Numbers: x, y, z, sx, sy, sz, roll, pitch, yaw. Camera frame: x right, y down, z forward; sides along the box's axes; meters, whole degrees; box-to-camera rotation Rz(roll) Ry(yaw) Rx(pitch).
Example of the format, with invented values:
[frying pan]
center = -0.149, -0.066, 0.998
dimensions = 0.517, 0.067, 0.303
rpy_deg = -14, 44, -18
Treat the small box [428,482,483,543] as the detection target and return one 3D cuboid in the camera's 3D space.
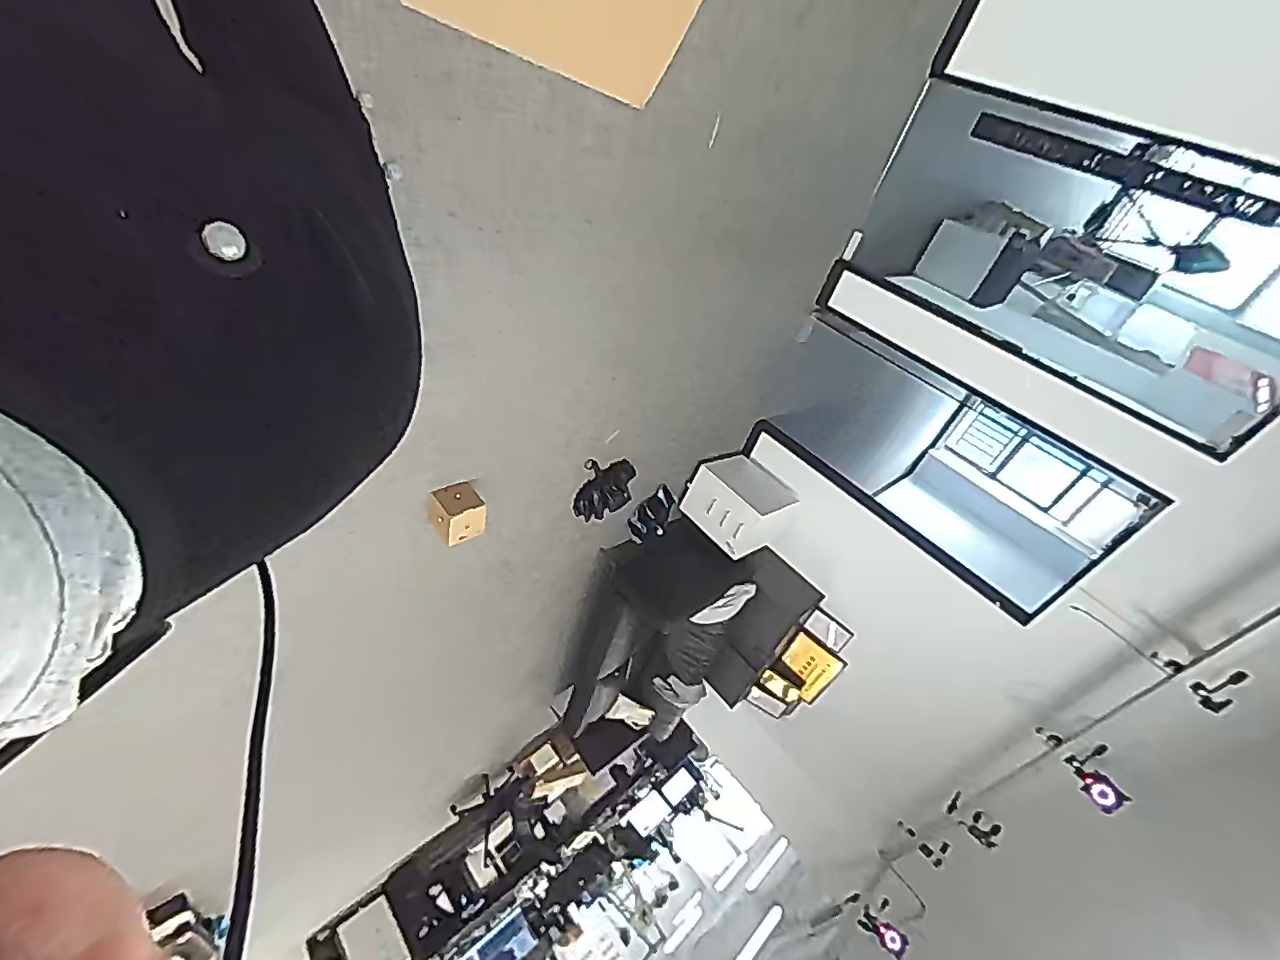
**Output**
[small box]
center = -0.785, 0.128, 2.289
dimensions = 0.168, 0.176, 0.179
rpy_deg = -23, 144, -39
